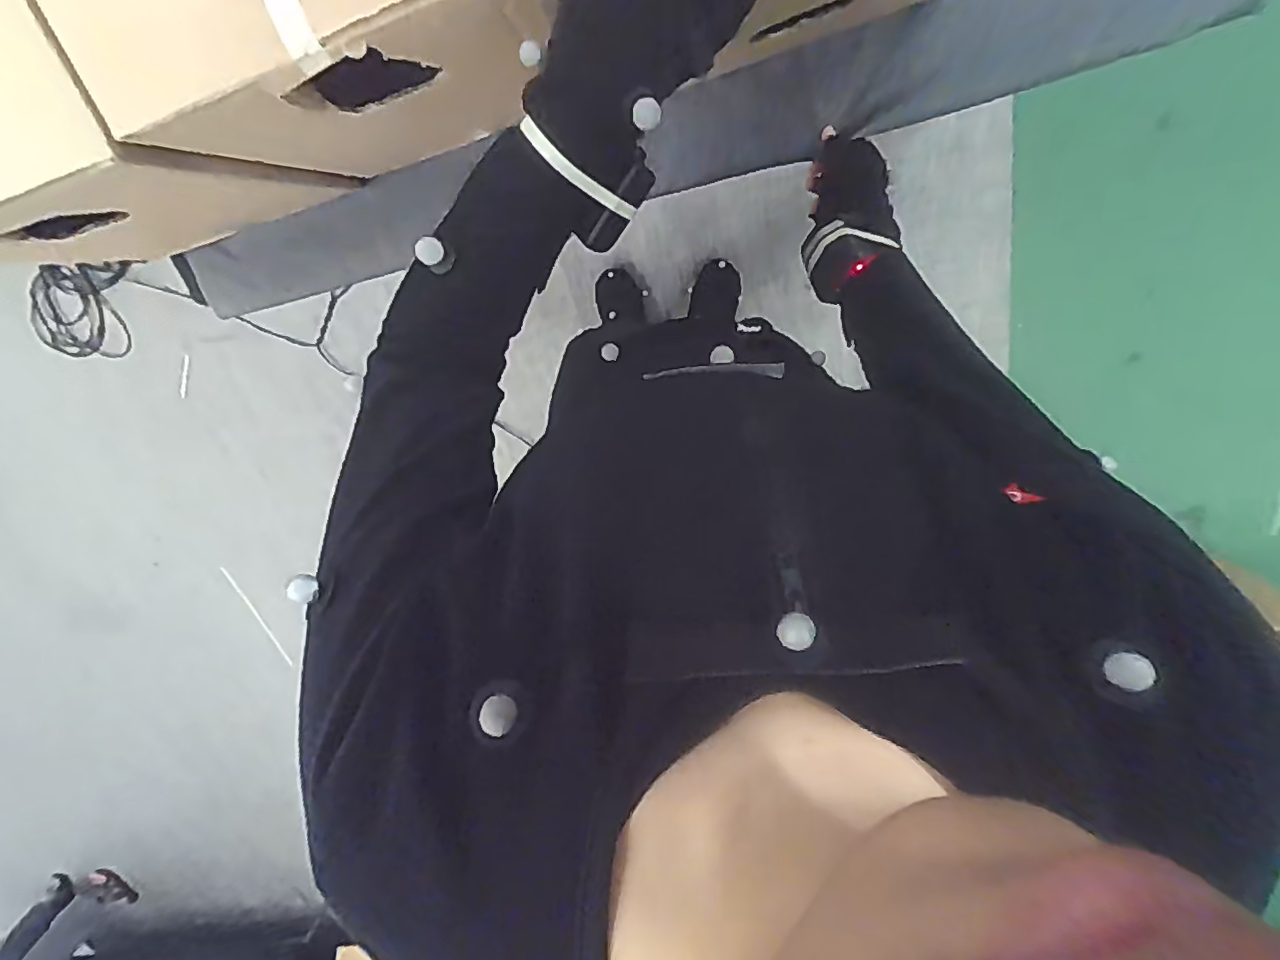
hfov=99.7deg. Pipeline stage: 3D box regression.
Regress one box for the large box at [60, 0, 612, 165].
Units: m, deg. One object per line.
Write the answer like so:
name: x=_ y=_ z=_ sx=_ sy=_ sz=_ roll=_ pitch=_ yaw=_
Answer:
large box: x=-0.239 y=-0.506 z=0.389 sx=0.320 sy=0.320 sz=0.408 roll=-12 pitch=114 yaw=12
